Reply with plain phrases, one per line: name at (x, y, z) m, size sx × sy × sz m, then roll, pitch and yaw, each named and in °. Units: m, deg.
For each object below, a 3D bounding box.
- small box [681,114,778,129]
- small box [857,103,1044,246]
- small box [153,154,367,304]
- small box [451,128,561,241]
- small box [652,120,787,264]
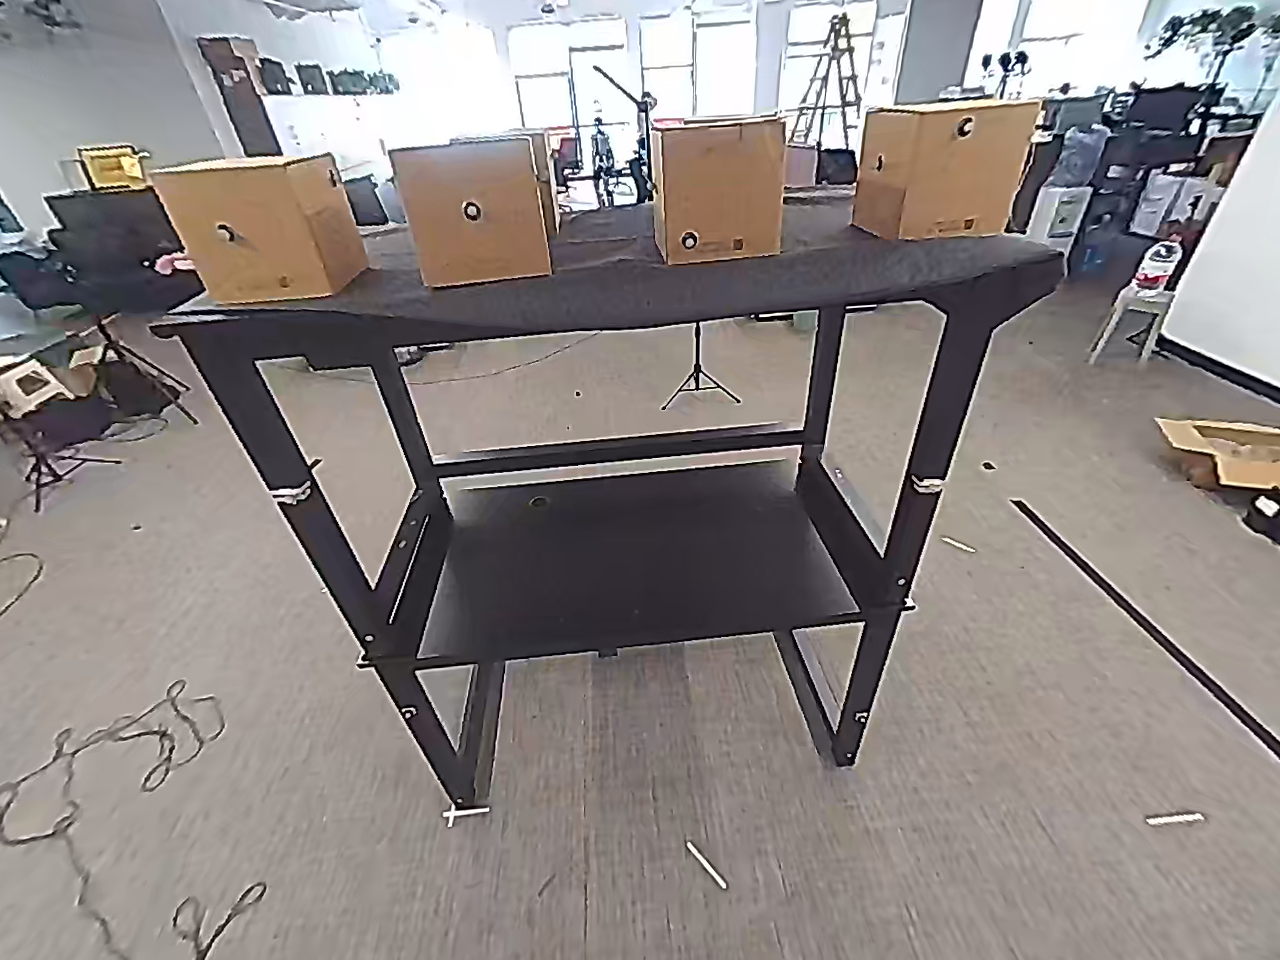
small box at (0.167, -0.605, 1.054) m, size 0.168 × 0.176 × 0.179 m, roll -1°, pitch 35°, yaw 2°
small box at (0.449, -0.462, 0.820) m, size 0.168 × 0.176 × 0.179 m, roll -6°, pitch 35°, yaw -1°
small box at (-0.522, -0.360, 0.780) m, size 0.168 × 0.176 × 0.179 m, roll -6°, pitch 35°, yaw -3°
small box at (-0.244, -0.561, 1.032) m, size 0.168 × 0.176 × 0.179 m, roll -5°, pitch 36°, yaw -3°
small box at (0.111, -0.425, 0.803) m, size 0.168 × 0.176 × 0.179 m, roll -5°, pitch 33°, yaw -1°
